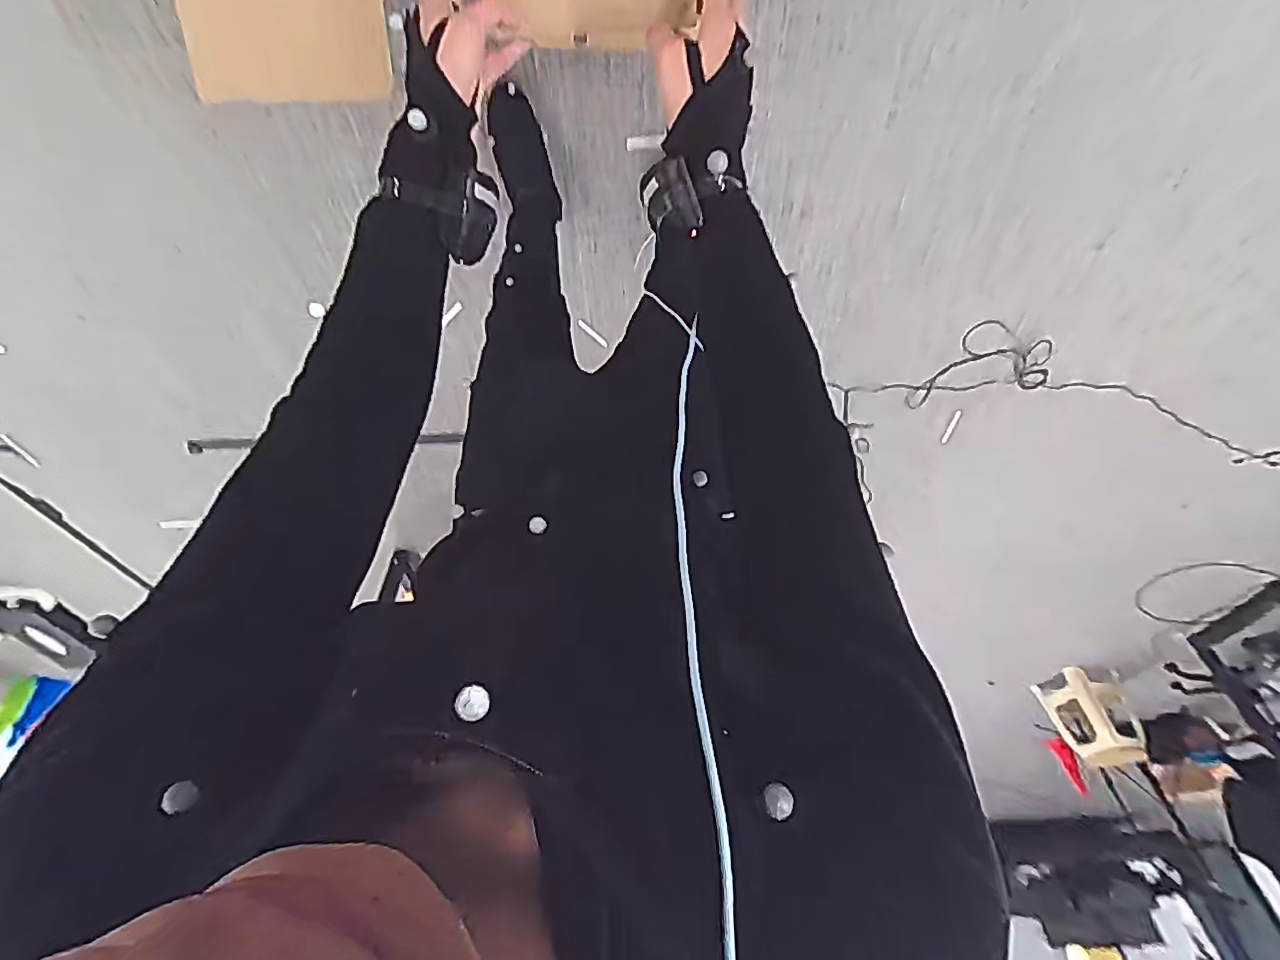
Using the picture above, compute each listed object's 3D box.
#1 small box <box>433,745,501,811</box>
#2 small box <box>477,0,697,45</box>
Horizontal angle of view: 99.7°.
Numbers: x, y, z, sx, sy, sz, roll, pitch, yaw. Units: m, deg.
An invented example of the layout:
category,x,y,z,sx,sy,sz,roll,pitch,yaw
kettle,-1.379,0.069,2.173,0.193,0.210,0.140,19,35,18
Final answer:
category,x,y,z,sx,sy,sz,roll,pitch,yaw
small box,-0.592,1.029,1.871,0.179,0.176,0.168,0,137,-2
small box,-0.044,-0.473,0.440,0.179,0.176,0.168,-2,137,1
